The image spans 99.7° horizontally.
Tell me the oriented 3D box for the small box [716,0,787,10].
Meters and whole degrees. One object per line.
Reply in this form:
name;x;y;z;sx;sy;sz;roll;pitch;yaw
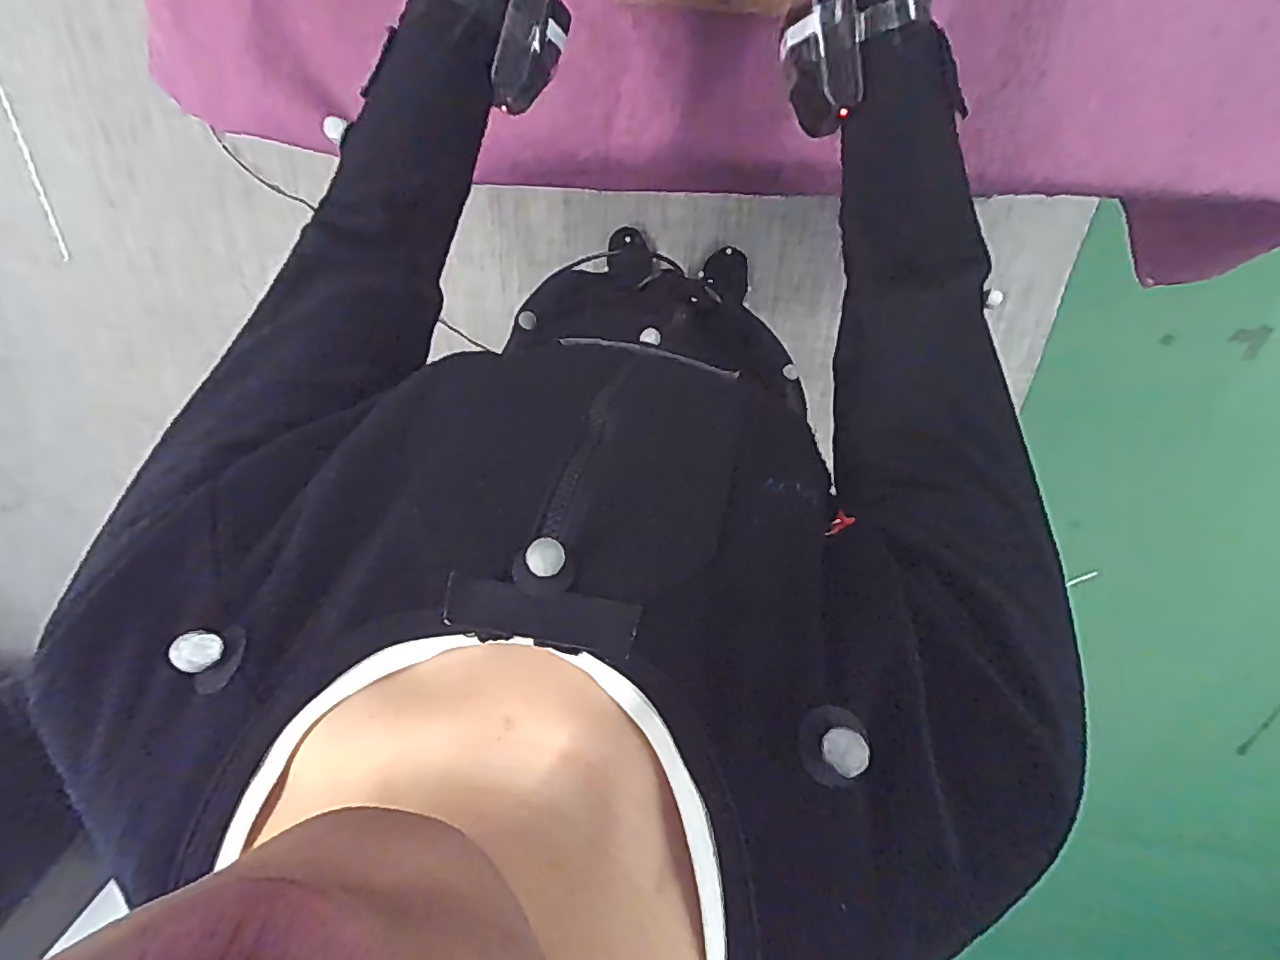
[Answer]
small box;0.063;-0.497;0.410;0.168;0.176;0.179;8;116;2
